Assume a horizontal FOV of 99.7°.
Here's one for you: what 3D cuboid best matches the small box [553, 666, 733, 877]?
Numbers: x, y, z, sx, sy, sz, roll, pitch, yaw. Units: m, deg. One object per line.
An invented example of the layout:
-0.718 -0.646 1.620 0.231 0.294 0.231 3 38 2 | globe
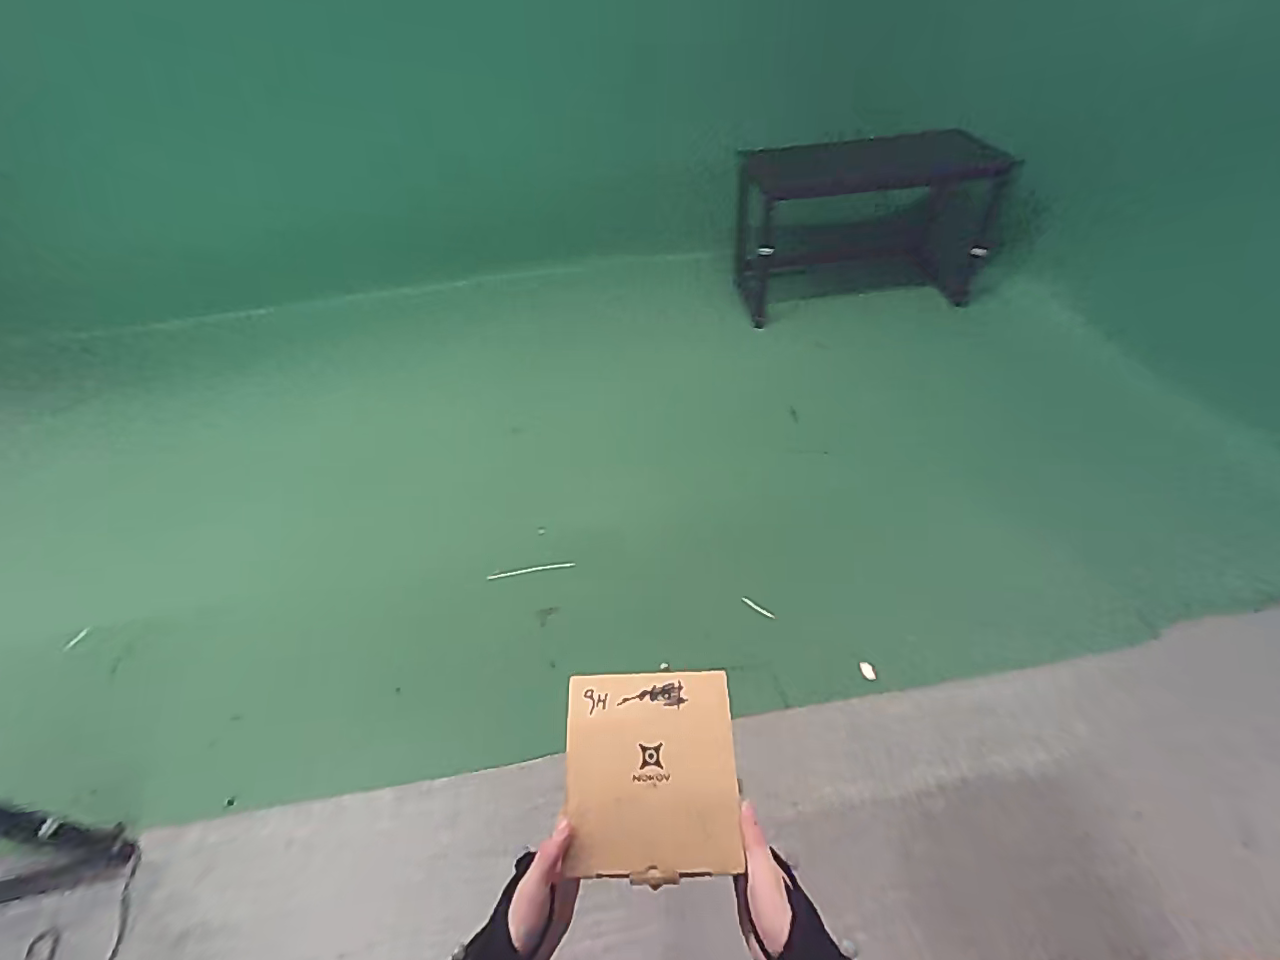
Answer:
0.005 0.312 0.590 0.168 0.176 0.179 -4 60 1 | small box
